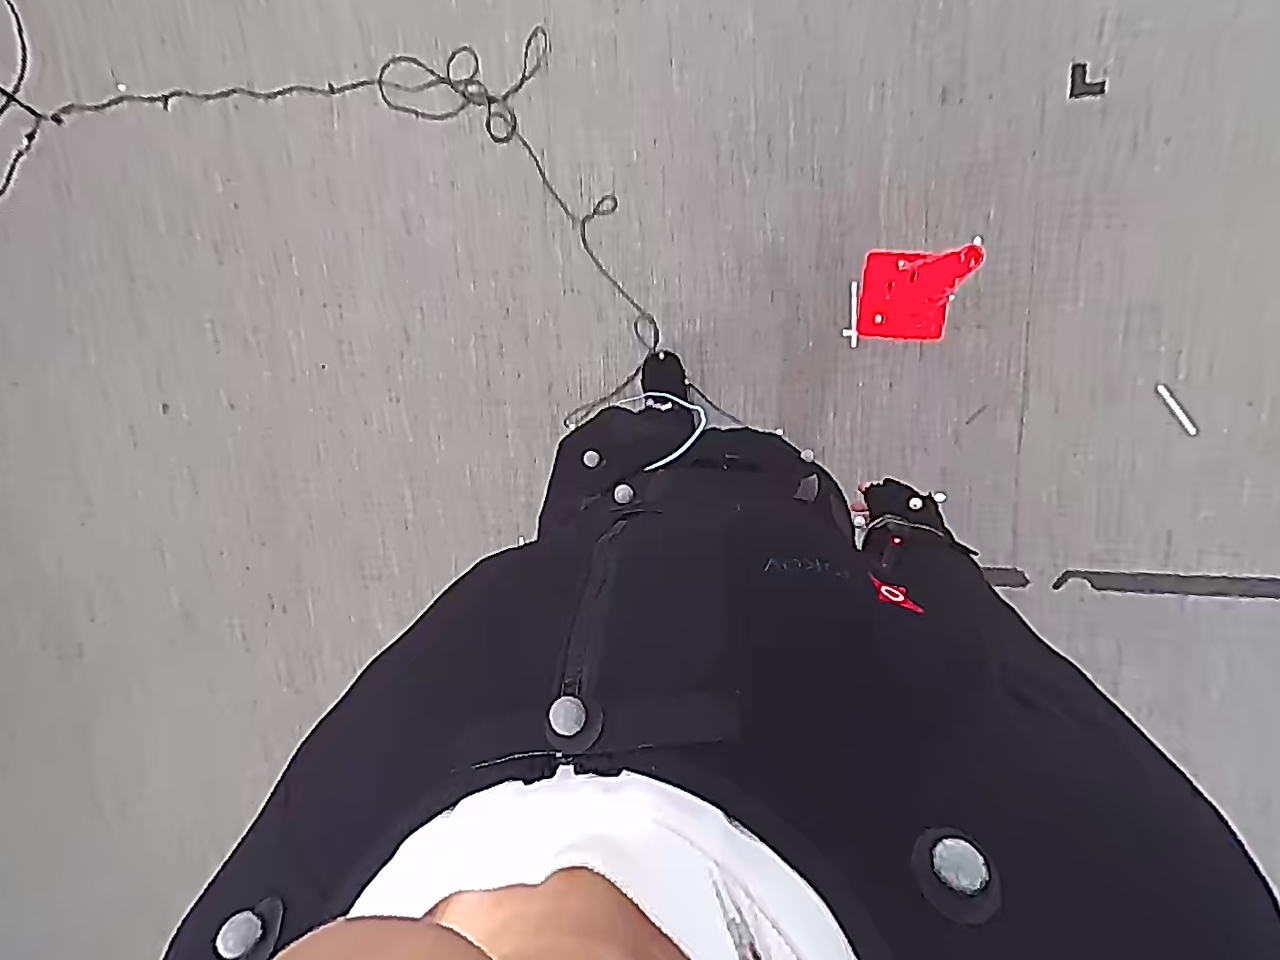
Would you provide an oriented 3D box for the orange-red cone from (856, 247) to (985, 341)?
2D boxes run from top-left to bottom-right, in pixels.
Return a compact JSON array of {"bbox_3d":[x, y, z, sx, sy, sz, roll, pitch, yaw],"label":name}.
[{"bbox_3d":[0.602,-0.410,1.105,0.199,0.360,0.198,7,99,6],"label":"orange-red cone"}]
